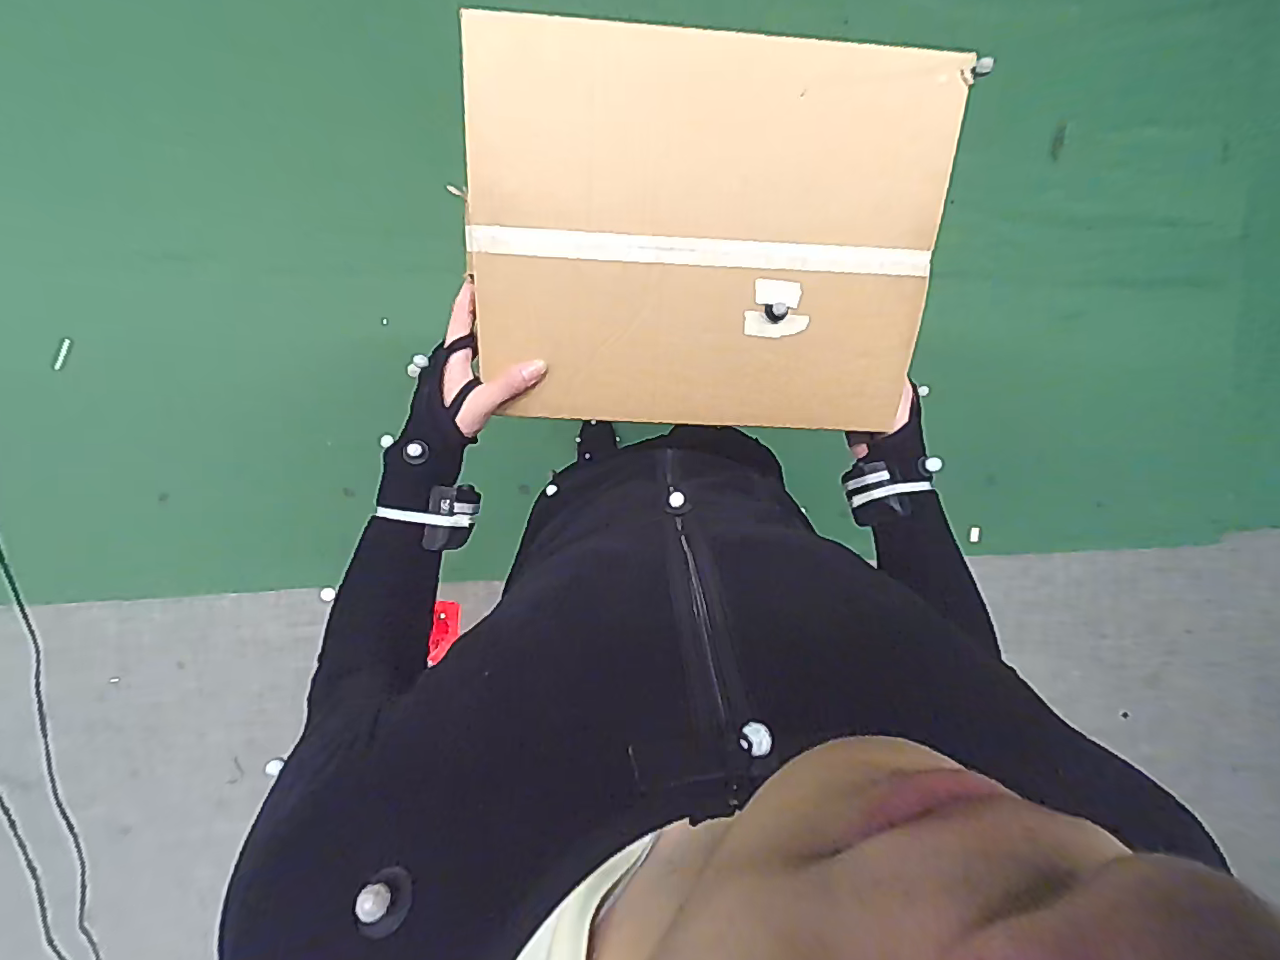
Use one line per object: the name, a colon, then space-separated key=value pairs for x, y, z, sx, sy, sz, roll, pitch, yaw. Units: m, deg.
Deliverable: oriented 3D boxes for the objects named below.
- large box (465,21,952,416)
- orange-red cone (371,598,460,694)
large box: x=0.046 y=-0.260 z=0.621 sx=0.408 sy=0.320 sz=0.320 roll=1 pitch=111 yaw=-4
orange-red cone: x=-0.630 y=0.470 z=1.441 sx=0.199 sy=0.360 sz=0.198 roll=6 pitch=95 yaw=-5
